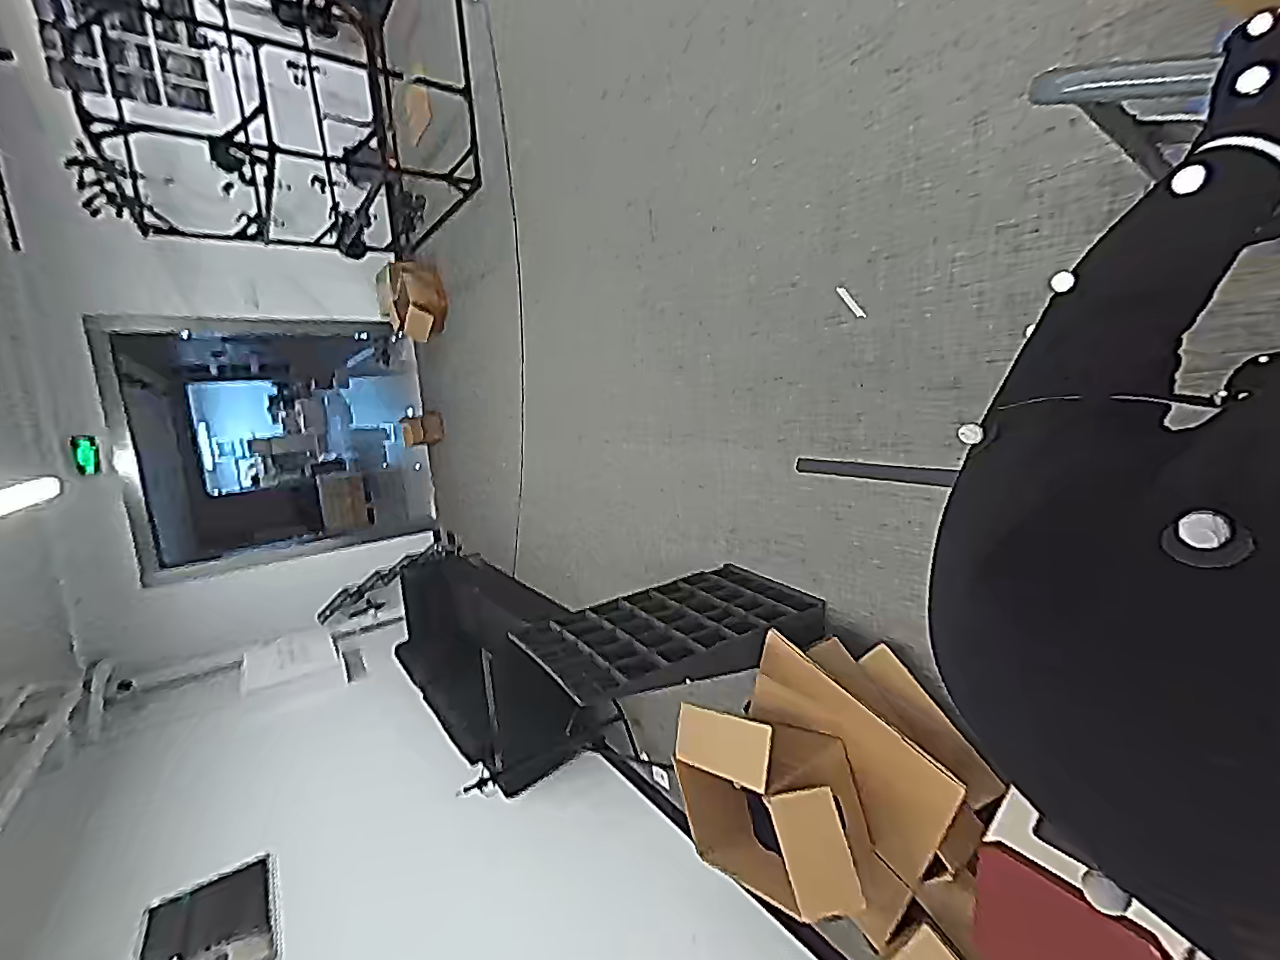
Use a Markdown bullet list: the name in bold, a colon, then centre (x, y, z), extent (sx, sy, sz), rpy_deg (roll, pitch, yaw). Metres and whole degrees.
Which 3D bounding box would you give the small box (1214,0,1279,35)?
- **small box**: centre (0.929, -0.726, 0.722), extent (0.179, 0.176, 0.168), rpy_deg (39, 128, 42)
